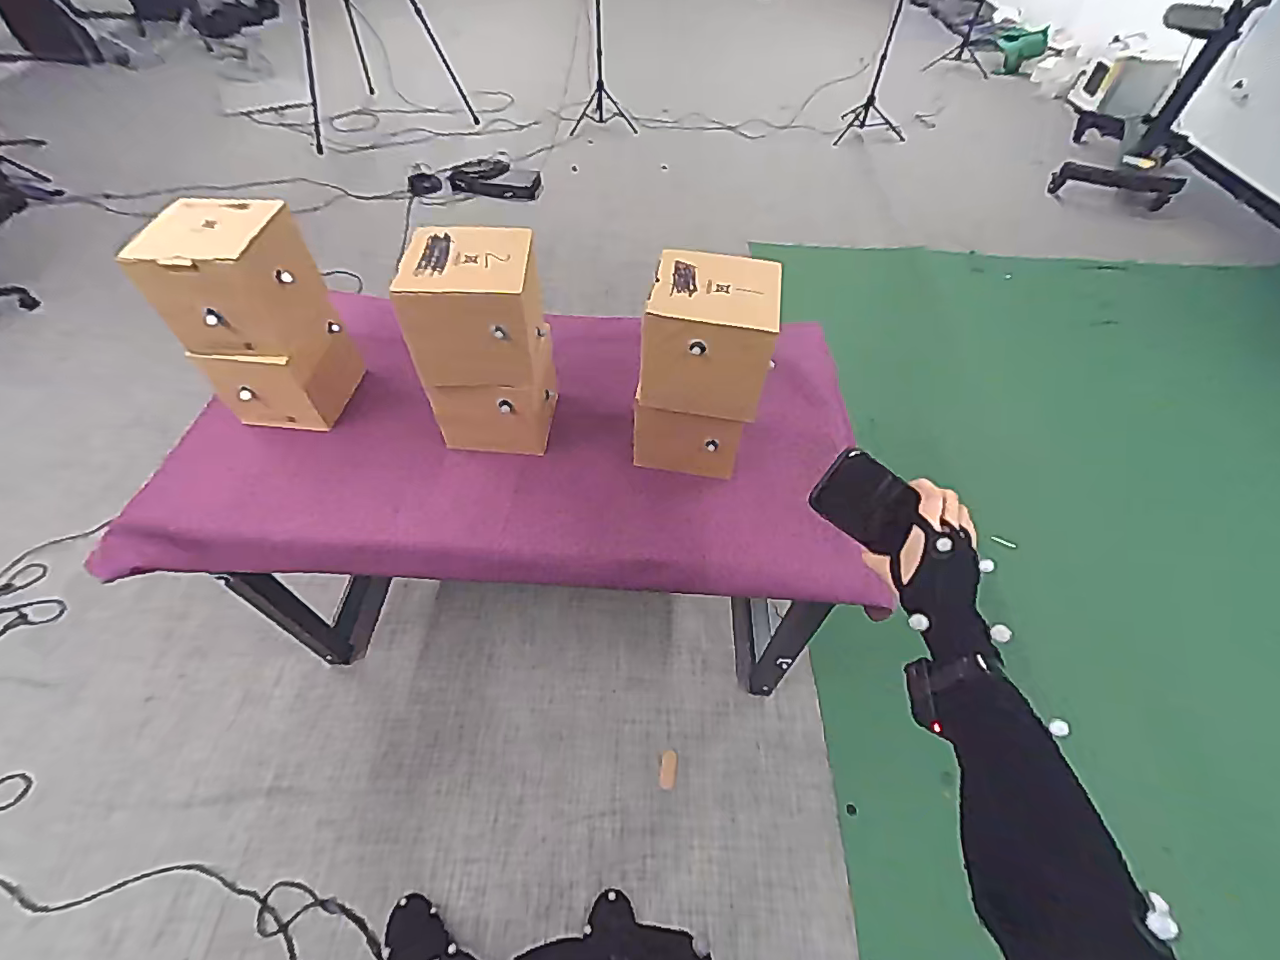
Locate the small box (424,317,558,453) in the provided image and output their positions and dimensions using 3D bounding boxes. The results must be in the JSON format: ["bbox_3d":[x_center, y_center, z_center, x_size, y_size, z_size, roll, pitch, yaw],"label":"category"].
[{"bbox_3d":[-0.248,-0.163,0.952,0.179,0.176,0.168,4,52,2],"label":"small box"}]

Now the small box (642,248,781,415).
[{"bbox_3d":[0.101,-0.215,0.794,0.179,0.176,0.168,9,52,5],"label":"small box"}]

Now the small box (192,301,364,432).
[{"bbox_3d":[-0.635,-0.206,0.980,0.168,0.176,0.179,5,52,2],"label":"small box"}]

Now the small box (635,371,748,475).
[{"bbox_3d":[0.091,-0.127,0.933,0.179,0.176,0.168,9,52,7],"label":"small box"}]

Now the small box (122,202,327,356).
[{"bbox_3d":[-0.632,-0.313,0.855,0.168,0.176,0.179,1,53,-1],"label":"small box"}]
